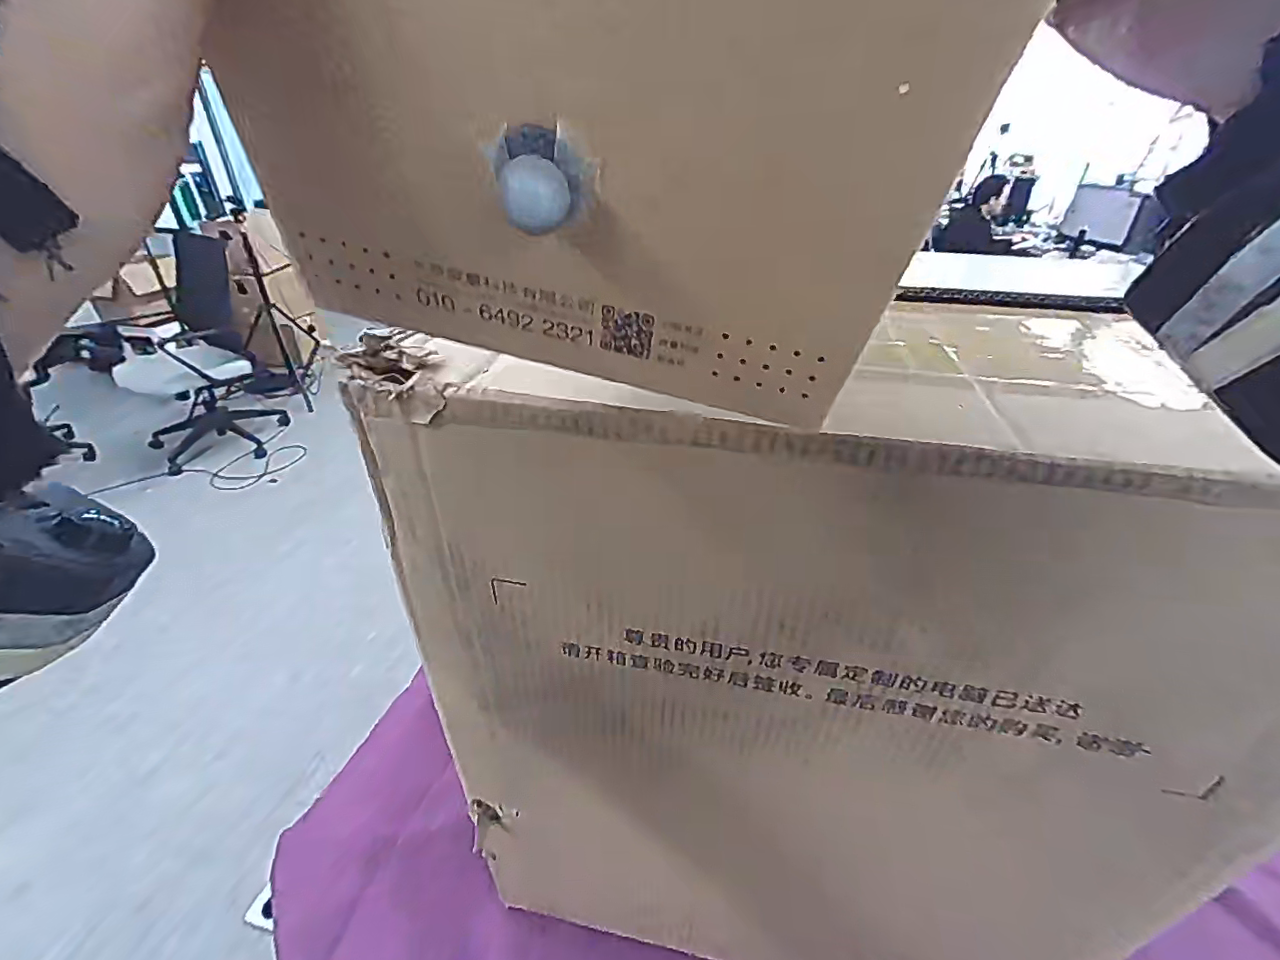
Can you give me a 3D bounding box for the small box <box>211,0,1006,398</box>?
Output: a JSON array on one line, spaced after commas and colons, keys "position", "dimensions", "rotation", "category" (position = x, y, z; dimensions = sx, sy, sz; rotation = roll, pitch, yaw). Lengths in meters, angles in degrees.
[{"position": [0.000, -0.154, 0.150], "dimensions": [0.168, 0.176, 0.179], "rotation": [14, 52, 4], "category": "small box"}]
